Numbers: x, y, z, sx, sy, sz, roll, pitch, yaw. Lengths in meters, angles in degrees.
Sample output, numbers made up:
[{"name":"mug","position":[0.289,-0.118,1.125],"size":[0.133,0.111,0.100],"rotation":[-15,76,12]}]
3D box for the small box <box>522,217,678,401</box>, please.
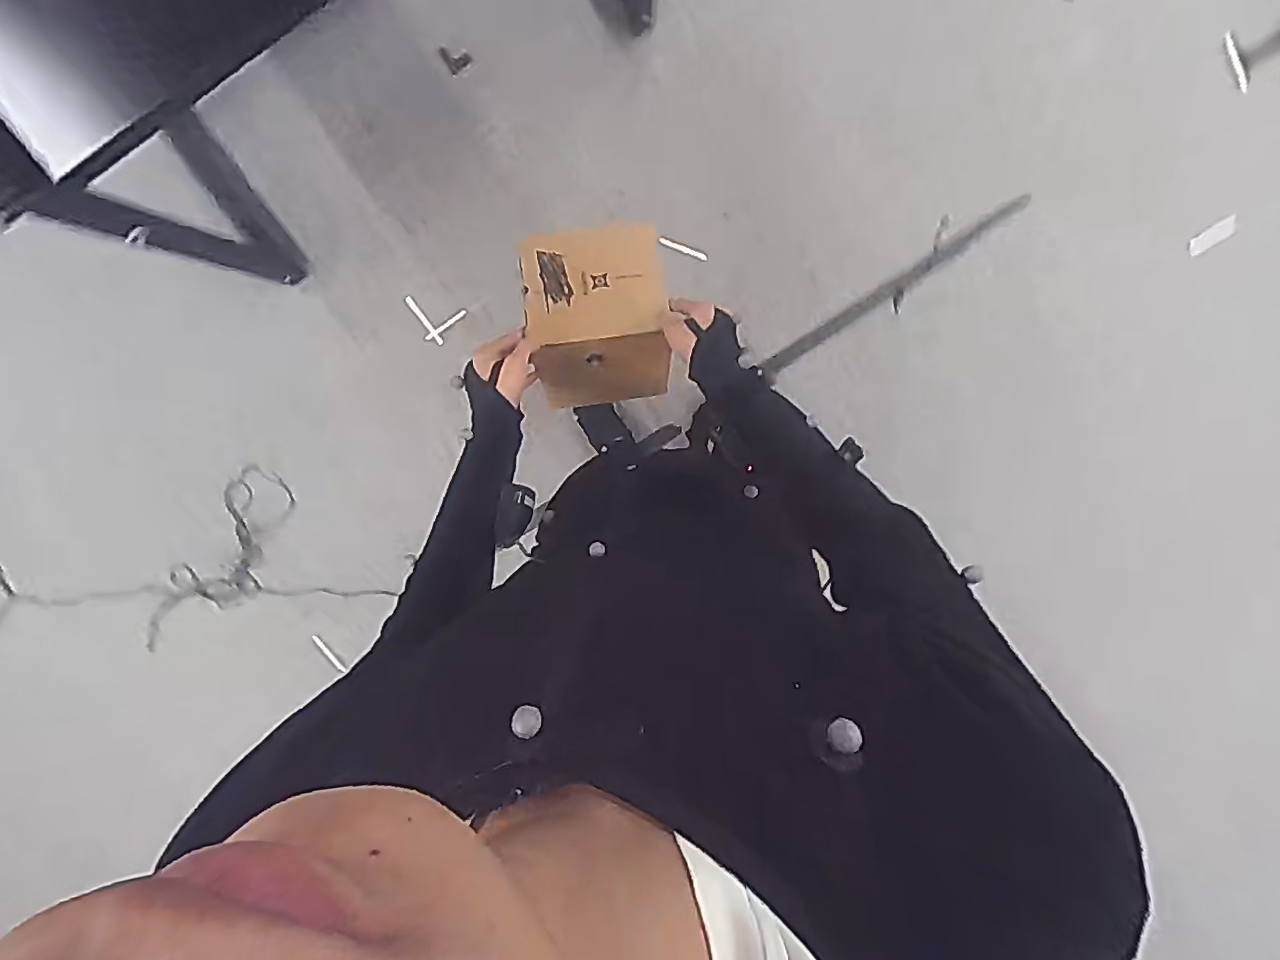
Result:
[{"name":"small box","position":[-0.050,-0.217,0.721],"size":[0.179,0.176,0.168],"rotation":[-7,72,-3]}]
